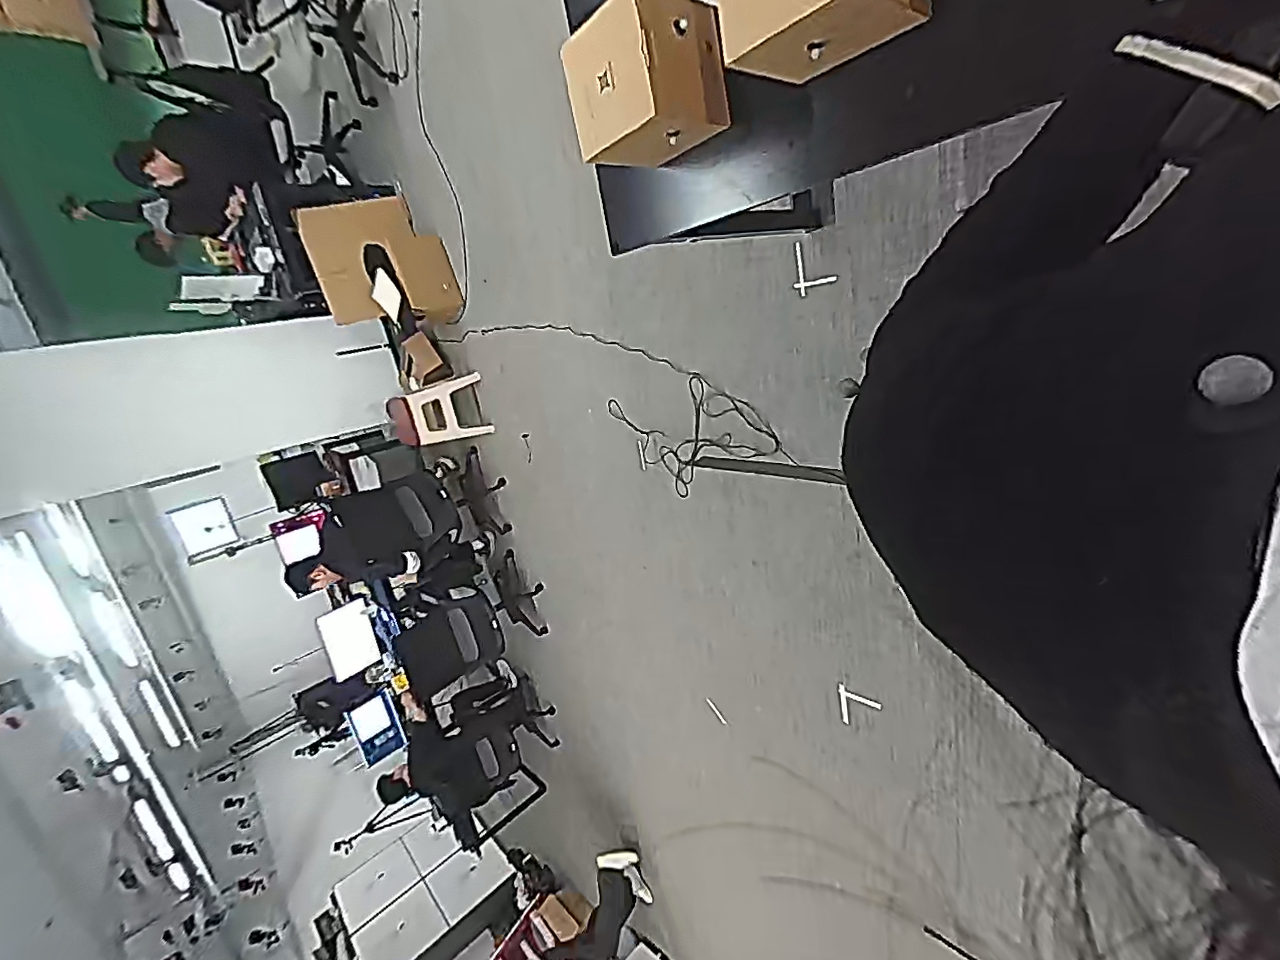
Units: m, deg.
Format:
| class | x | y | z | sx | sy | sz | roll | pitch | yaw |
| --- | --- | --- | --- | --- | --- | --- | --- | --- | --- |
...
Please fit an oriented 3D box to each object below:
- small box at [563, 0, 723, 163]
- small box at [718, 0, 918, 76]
| class | x | y | z | sx | sy | sz | roll | pitch | yaw |
| --- | --- | --- | --- | --- | --- | --- | --- | --- | --- |
| small box | 0.012 | -0.612 | 0.835 | 0.179 | 0.176 | 0.168 | 4 | 111 | 50 |
| small box | 0.204 | -0.594 | 0.612 | 0.179 | 0.176 | 0.168 | 10 | 116 | 49 |
